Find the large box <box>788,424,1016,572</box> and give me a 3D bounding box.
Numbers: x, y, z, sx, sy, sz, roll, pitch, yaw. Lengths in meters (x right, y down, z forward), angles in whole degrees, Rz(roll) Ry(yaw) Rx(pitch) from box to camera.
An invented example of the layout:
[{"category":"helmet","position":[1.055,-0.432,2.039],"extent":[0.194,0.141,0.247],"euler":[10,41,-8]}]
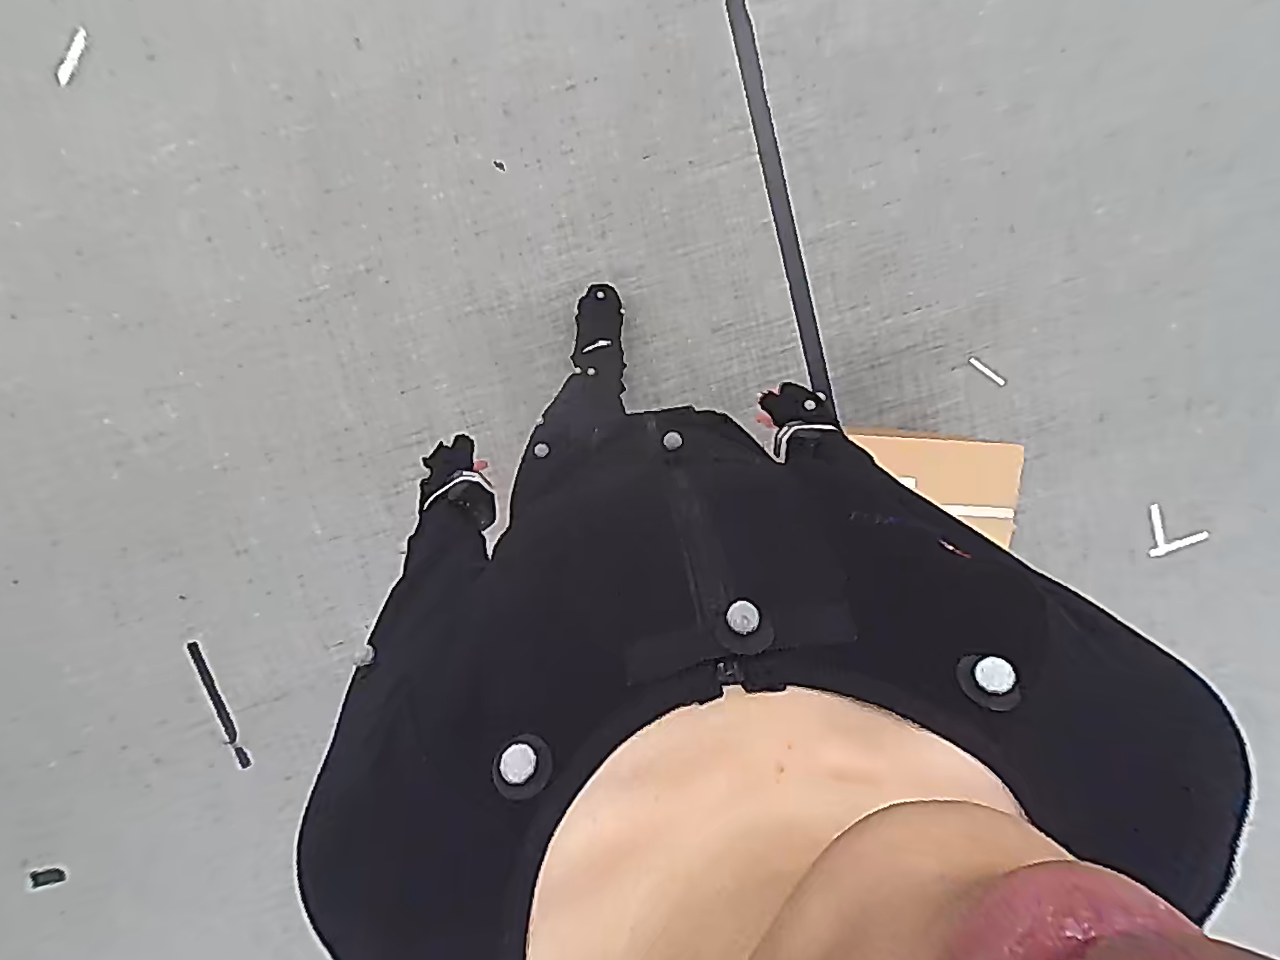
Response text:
[{"category":"large box","position":[0.626,0.029,1.361],"extent":[0.408,0.320,0.320],"euler":[3,99,-3]}]
